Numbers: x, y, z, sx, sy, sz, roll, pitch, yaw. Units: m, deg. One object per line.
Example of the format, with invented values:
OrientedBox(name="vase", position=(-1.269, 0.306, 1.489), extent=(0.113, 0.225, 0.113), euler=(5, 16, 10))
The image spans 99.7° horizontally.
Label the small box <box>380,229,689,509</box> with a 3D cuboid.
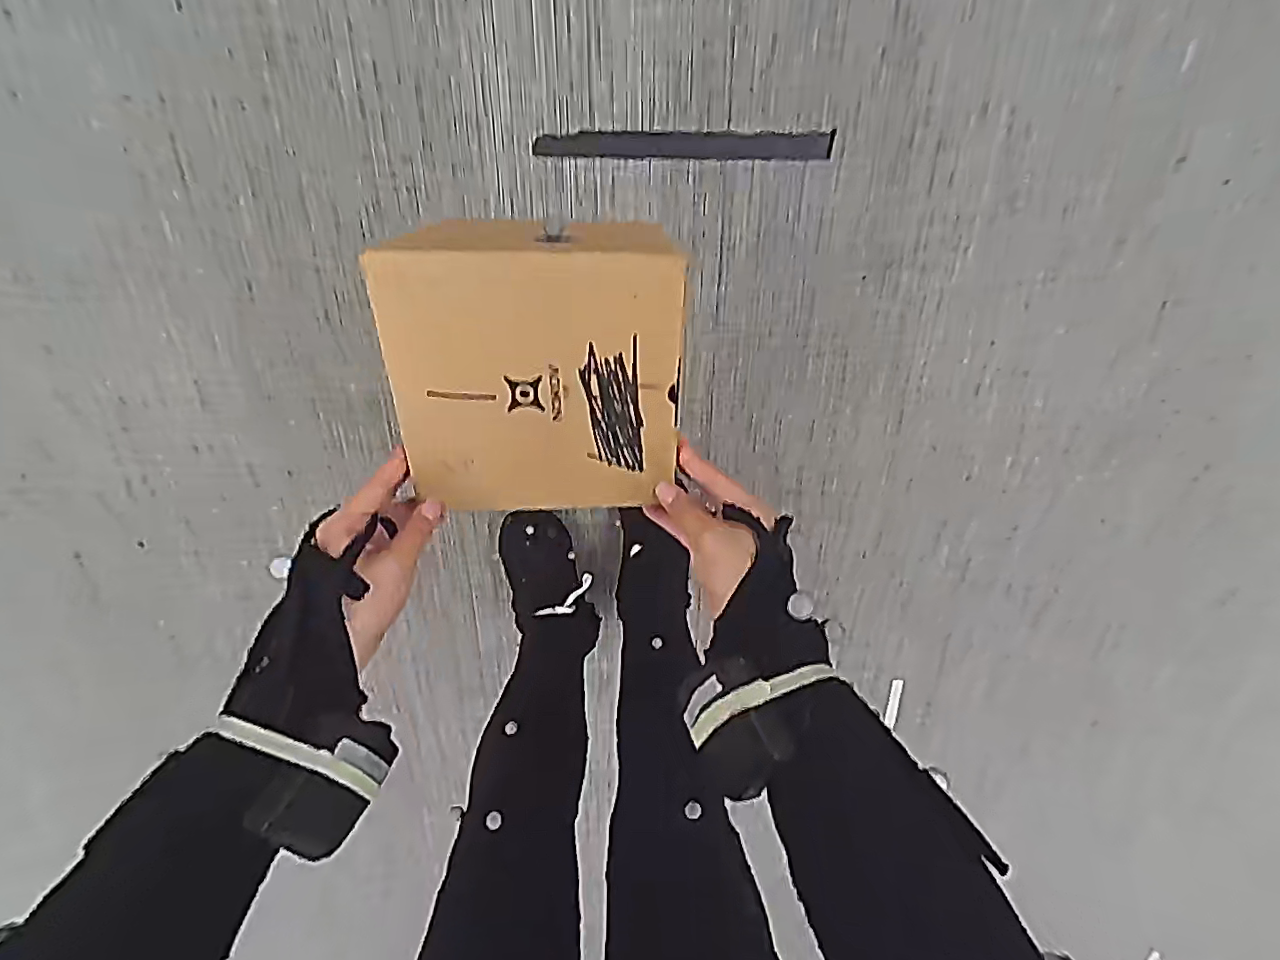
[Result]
OrientedBox(name="small box", position=(-0.066, -0.093, 0.412), extent=(0.179, 0.176, 0.168), euler=(-1, 121, -4))
